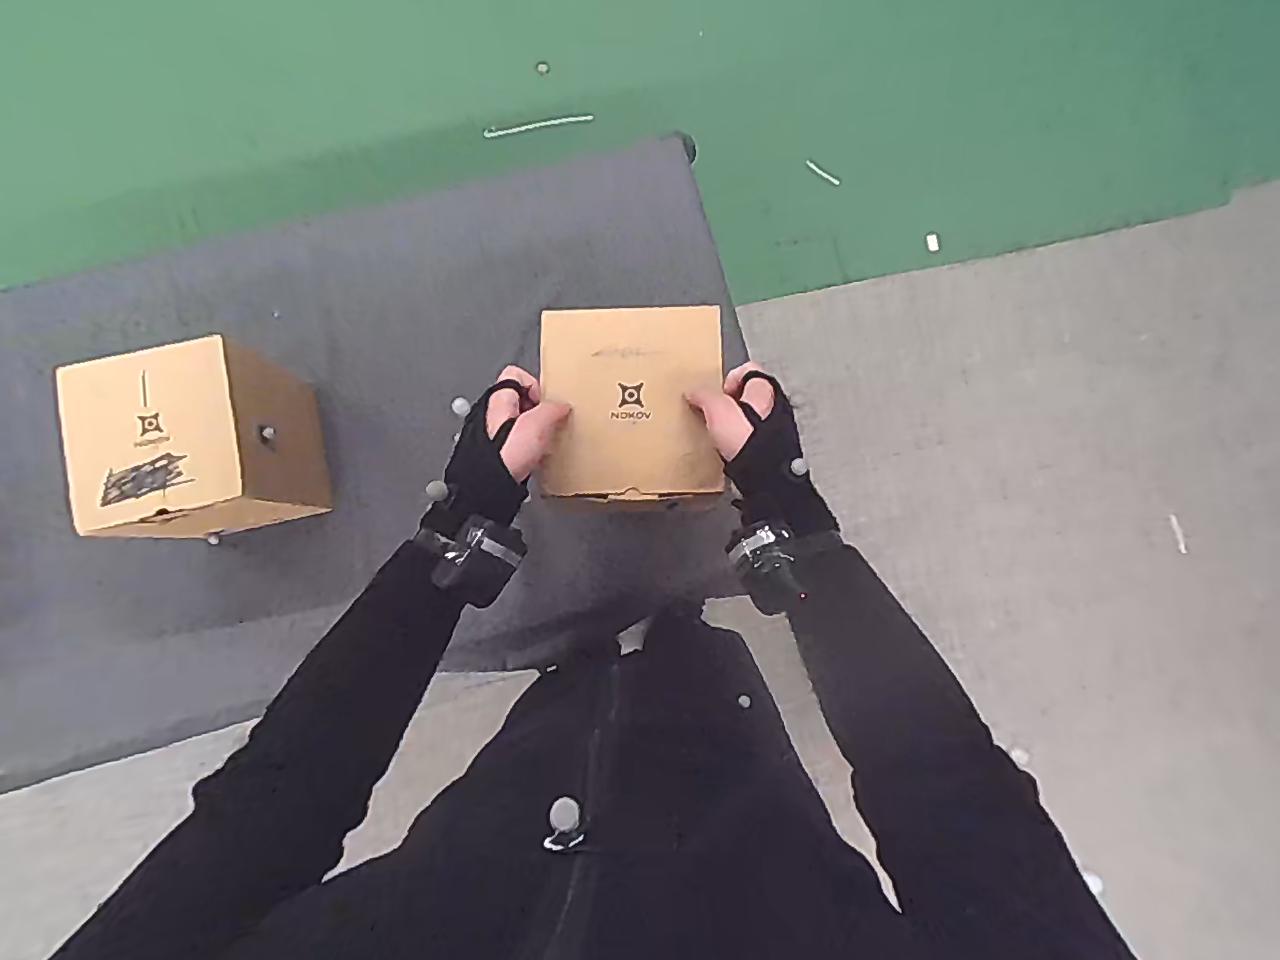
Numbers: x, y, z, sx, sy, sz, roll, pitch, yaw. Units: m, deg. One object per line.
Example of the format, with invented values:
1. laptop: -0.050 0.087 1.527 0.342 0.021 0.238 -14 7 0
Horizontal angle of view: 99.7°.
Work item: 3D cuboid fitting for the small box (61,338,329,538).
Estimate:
1. small box: -0.487 -0.035 0.618 0.168 0.176 0.179 -13 83 -3
